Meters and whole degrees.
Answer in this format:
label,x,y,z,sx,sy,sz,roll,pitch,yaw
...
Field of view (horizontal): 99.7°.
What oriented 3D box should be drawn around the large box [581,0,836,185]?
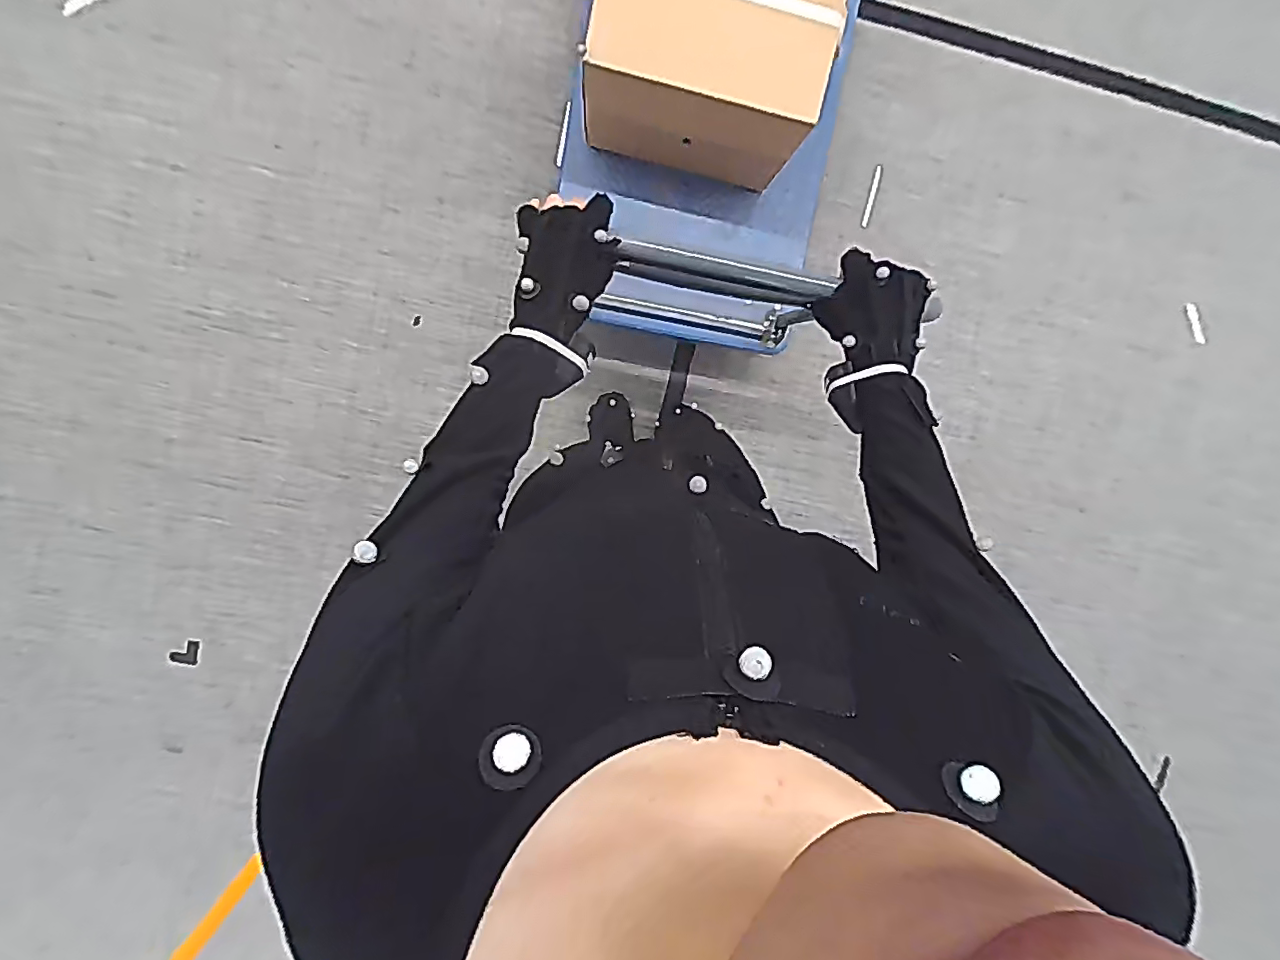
label,x,y,z,sx,sy,sz,roll,pitch,yaw
large box,0.118,-0.816,1.033,0.408,0.320,0.320,11,98,-5
